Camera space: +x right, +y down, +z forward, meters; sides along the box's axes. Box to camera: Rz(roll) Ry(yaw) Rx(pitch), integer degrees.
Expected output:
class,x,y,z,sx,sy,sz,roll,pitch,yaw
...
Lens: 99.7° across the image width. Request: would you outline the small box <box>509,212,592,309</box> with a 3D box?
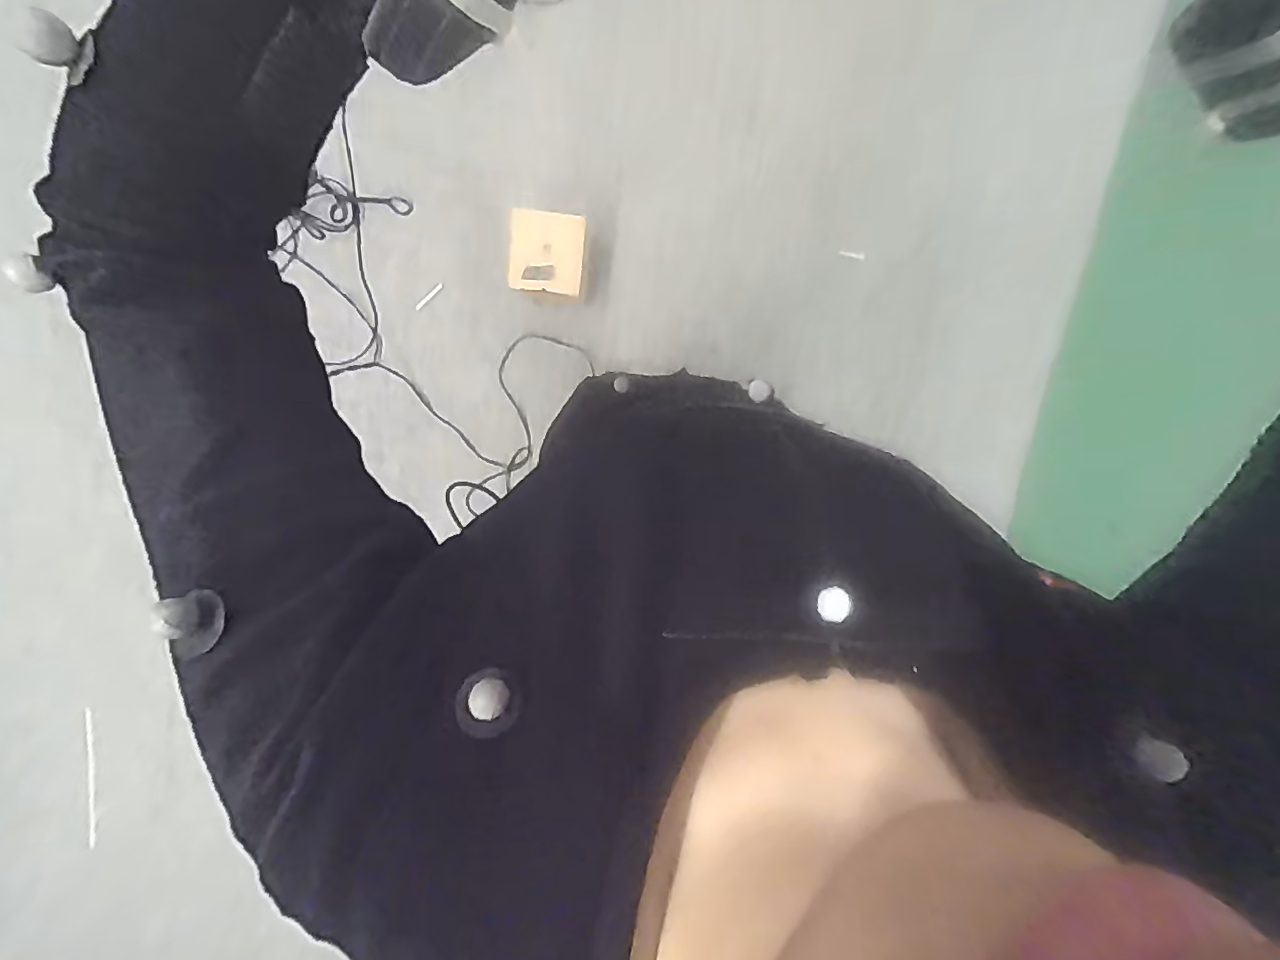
class,x,y,z,sx,sy,sz,roll,pitch,yaw
small box,-0.208,-0.518,1.299,0.168,0.176,0.179,6,99,-2
